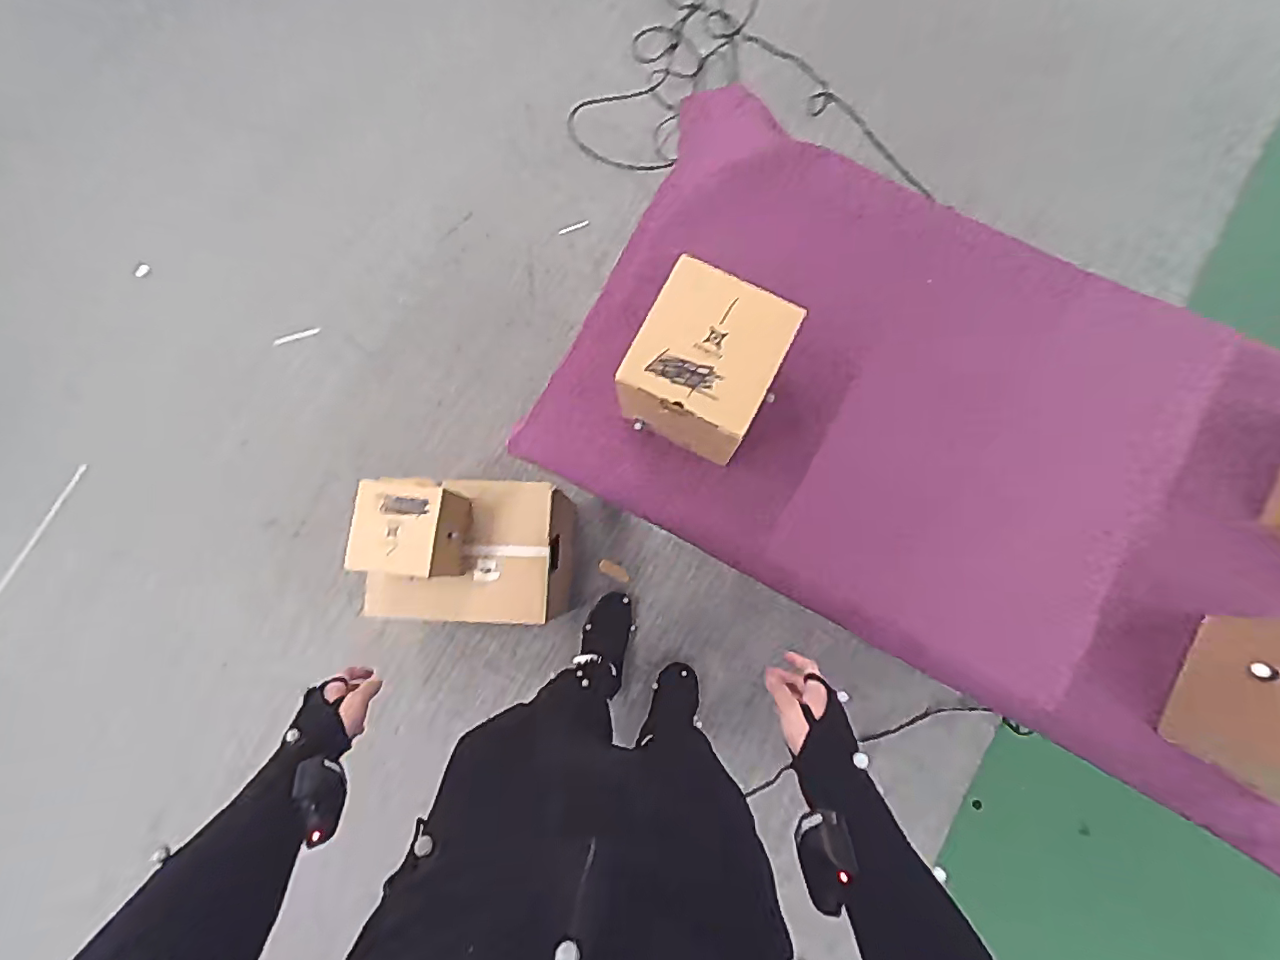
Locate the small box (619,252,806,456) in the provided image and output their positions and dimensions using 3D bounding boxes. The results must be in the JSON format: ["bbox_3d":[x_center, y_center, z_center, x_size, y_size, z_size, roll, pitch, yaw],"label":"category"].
[{"bbox_3d":[0.089,-0.150,0.708,0.168,0.176,0.179,27,81,5],"label":"small box"}]

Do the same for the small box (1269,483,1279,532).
[{"bbox_3d":[0.945,0.012,0.649,0.168,0.176,0.179,30,84,9],"label":"small box"}]

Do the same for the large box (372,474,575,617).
[{"bbox_3d":[-0.385,0.166,1.344,0.408,0.320,0.320,2,82,1],"label":"large box"}]

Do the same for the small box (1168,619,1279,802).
[{"bbox_3d":[0.772,0.272,0.613,0.168,0.176,0.179,31,81,8],"label":"small box"}]
